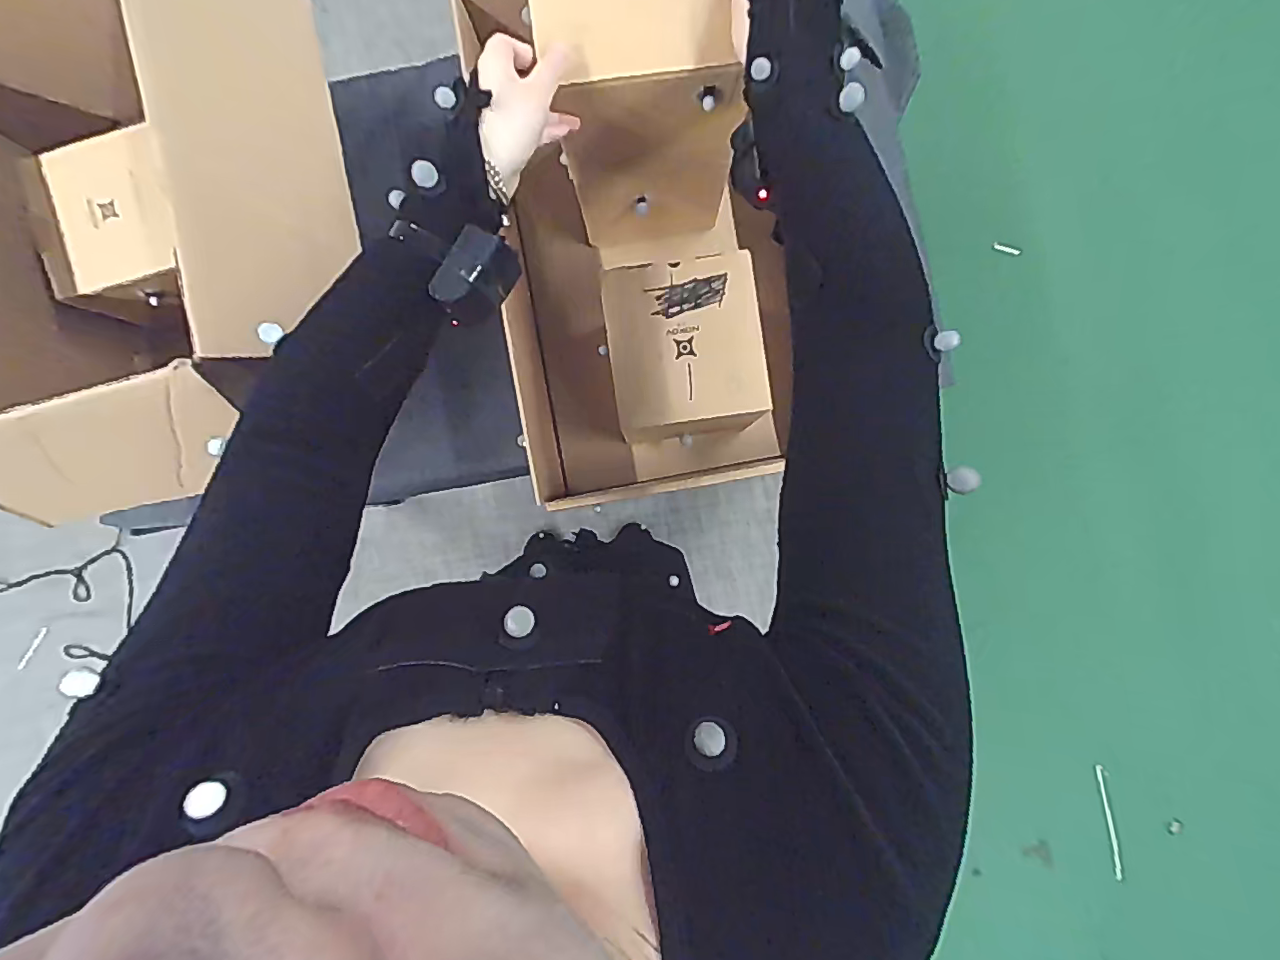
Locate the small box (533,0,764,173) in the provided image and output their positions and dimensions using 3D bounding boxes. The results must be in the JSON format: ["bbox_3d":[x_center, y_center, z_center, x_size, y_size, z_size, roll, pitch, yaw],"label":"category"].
[{"bbox_3d":[0.003,-0.402,0.489,0.179,0.176,0.168,-7,98,1],"label":"small box"}]

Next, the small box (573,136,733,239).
[{"bbox_3d":[0.008,-0.417,0.662,0.179,0.176,0.168,-9,91,2],"label":"small box"}]
